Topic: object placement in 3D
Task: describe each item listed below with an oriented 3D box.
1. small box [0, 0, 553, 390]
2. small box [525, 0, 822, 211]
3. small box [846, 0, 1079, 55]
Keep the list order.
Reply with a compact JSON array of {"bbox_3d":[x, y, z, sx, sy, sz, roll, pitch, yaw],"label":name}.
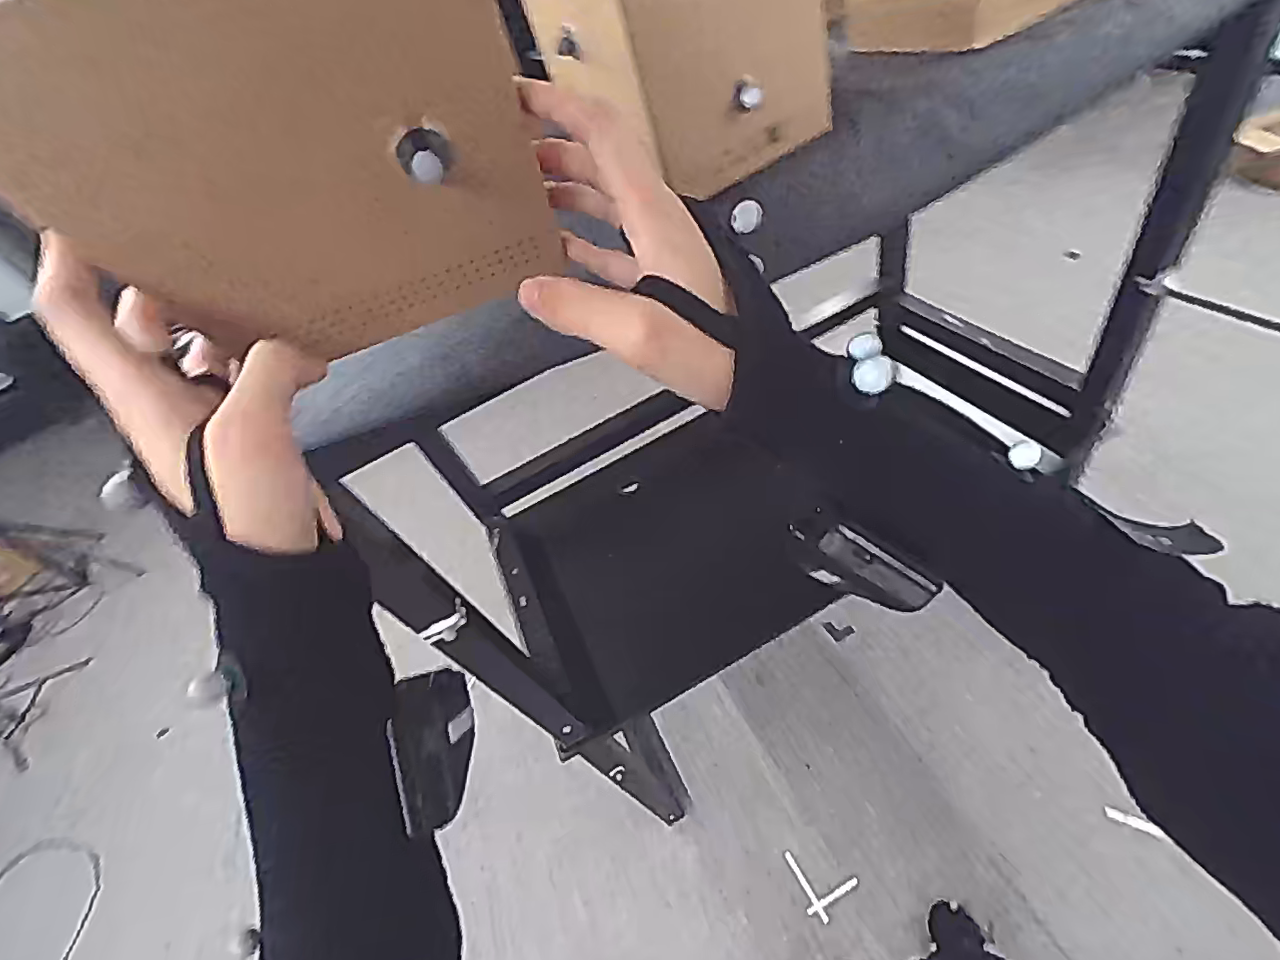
[{"bbox_3d":[-0.149,-0.169,0.237,0.179,0.176,0.168,-23,71,-4],"label":"small box"},{"bbox_3d":[0.029,-0.353,0.457,0.168,0.176,0.179,-34,44,-9],"label":"small box"},{"bbox_3d":[0.311,-0.531,0.509,0.168,0.176,0.179,-30,44,-5],"label":"small box"}]
